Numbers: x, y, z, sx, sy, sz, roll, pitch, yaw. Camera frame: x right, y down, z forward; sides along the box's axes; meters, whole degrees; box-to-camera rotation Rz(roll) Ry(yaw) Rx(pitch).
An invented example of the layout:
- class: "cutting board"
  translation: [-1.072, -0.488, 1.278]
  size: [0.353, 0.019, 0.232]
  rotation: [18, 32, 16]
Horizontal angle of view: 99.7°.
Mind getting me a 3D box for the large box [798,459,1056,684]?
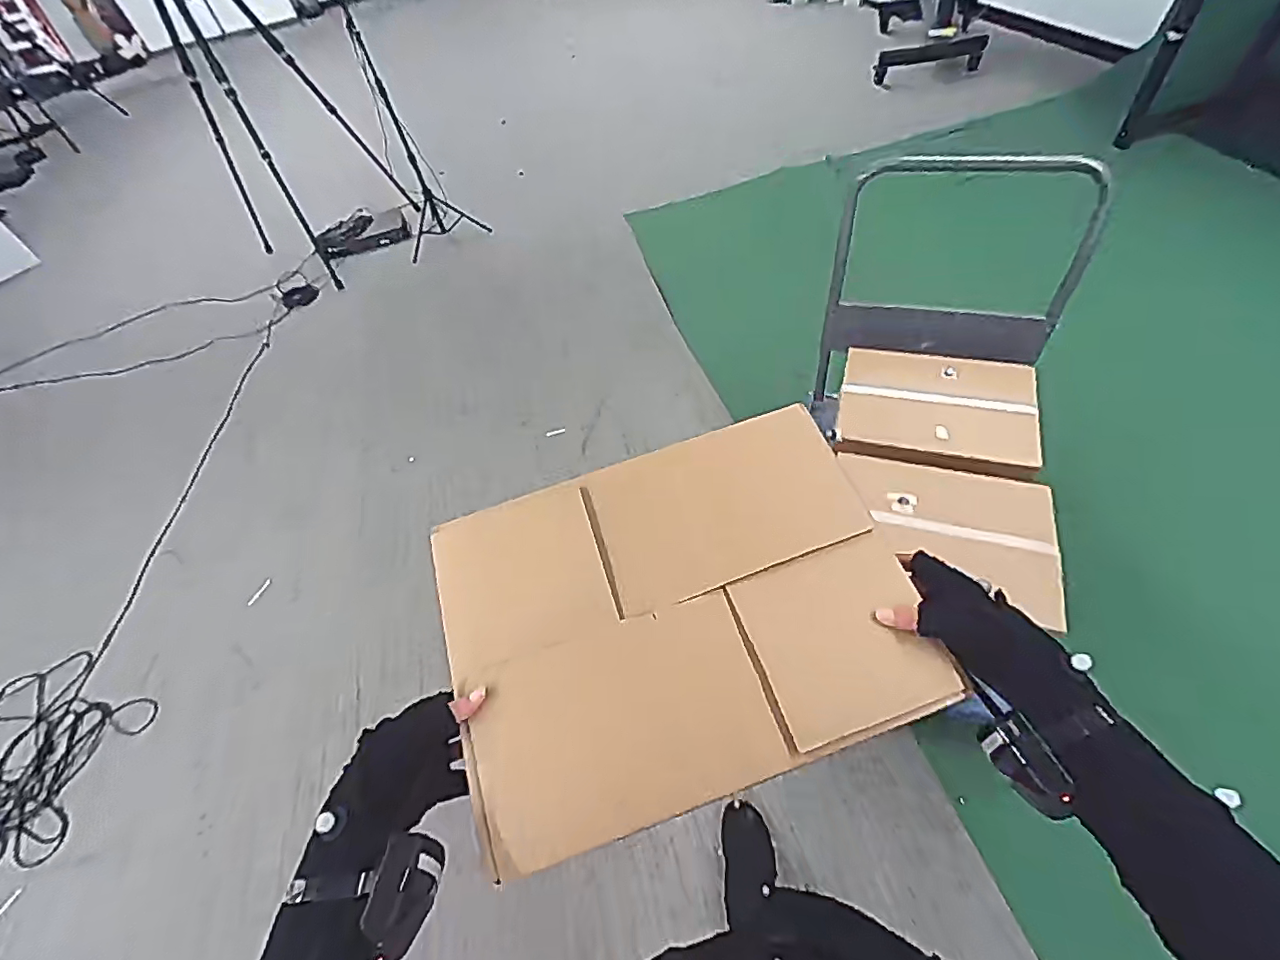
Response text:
- class: "large box"
  translation: [0.578, 0.194, 1.153]
  size: [0.408, 0.320, 0.320]
  rotation: [11, 56, 18]
